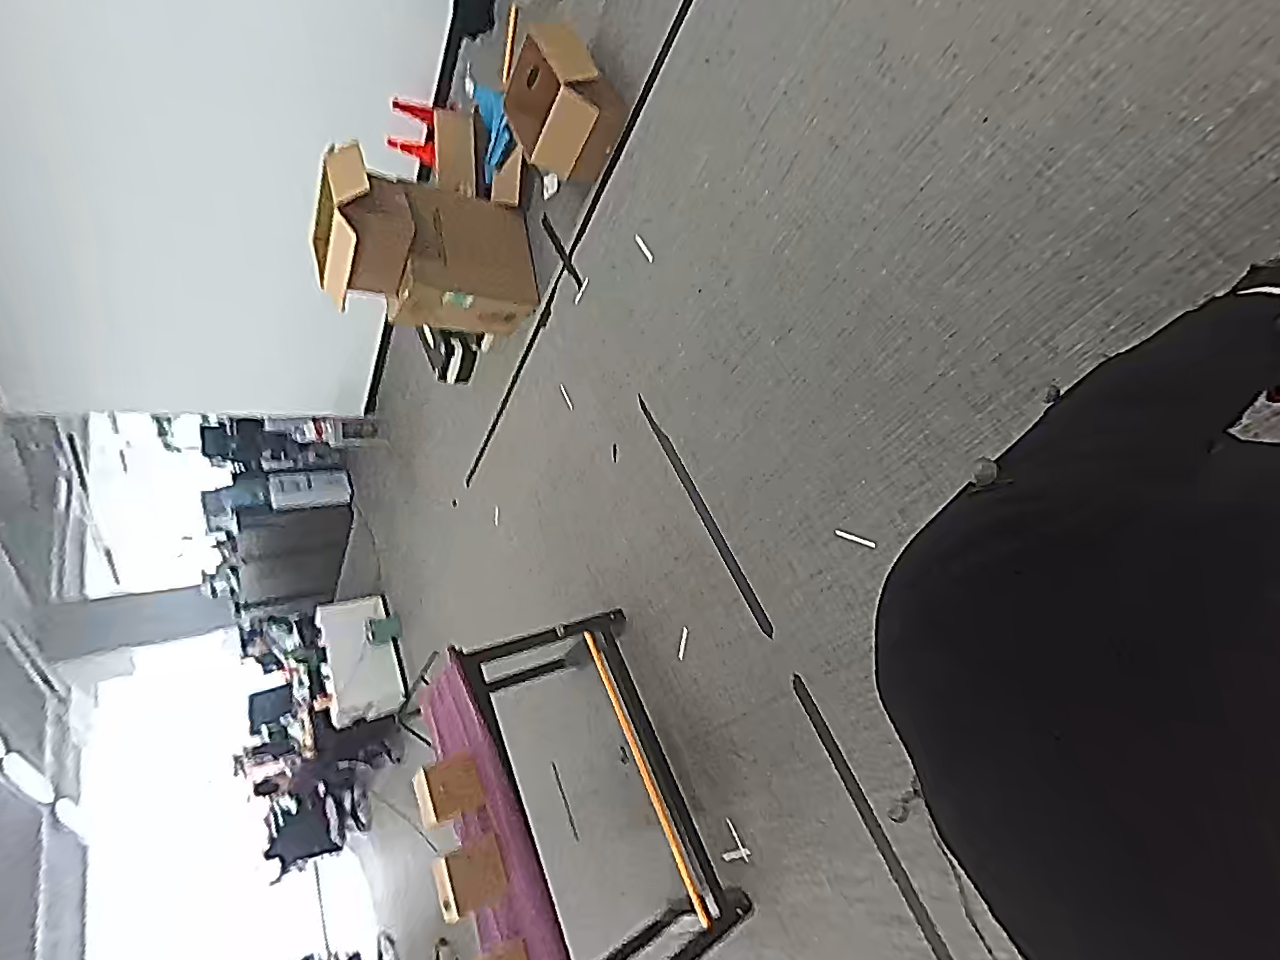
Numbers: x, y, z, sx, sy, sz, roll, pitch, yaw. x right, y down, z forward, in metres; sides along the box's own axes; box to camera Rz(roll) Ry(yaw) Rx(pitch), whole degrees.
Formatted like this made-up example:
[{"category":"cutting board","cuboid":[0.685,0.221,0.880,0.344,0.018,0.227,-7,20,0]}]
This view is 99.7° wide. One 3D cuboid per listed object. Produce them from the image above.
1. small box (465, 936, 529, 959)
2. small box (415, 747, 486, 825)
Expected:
[{"category":"small box","cuboid":[-0.429,1.515,1.630,0.168,0.176,0.179,-54,52,40]},{"category":"small box","cuboid":[-0.655,1.050,1.867,0.168,0.176,0.179,-53,55,40]}]
